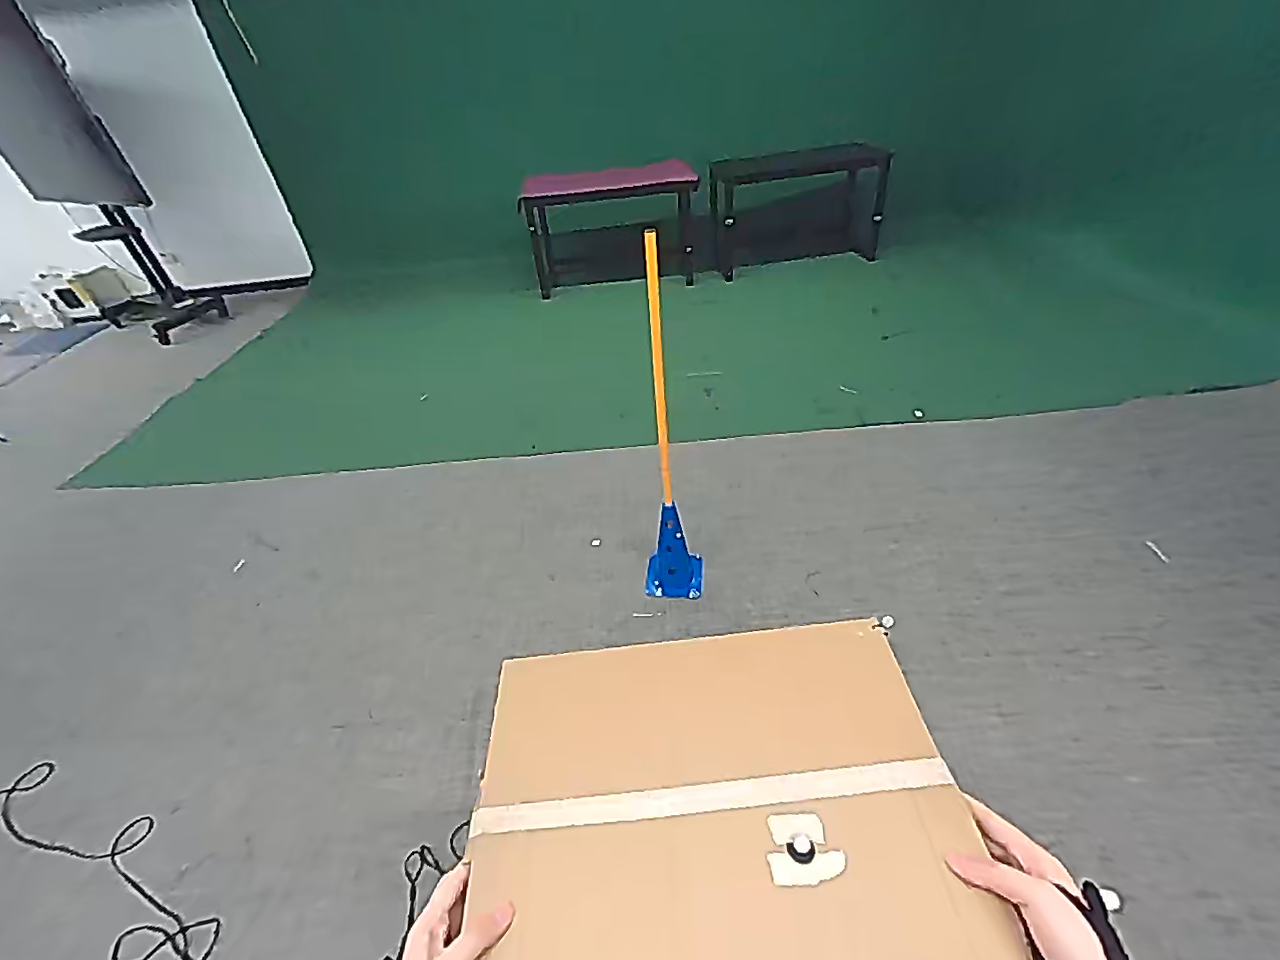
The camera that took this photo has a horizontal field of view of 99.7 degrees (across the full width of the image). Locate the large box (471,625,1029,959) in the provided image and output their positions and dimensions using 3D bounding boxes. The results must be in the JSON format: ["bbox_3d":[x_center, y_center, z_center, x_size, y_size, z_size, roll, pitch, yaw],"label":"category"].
[{"bbox_3d":[0.077,0.390,0.565,0.408,0.320,0.320,-7,41,1],"label":"large box"}]

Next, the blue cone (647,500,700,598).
[{"bbox_3d":[0.110,0.229,1.885,0.193,0.380,0.192,1,38,10],"label":"blue cone"}]
